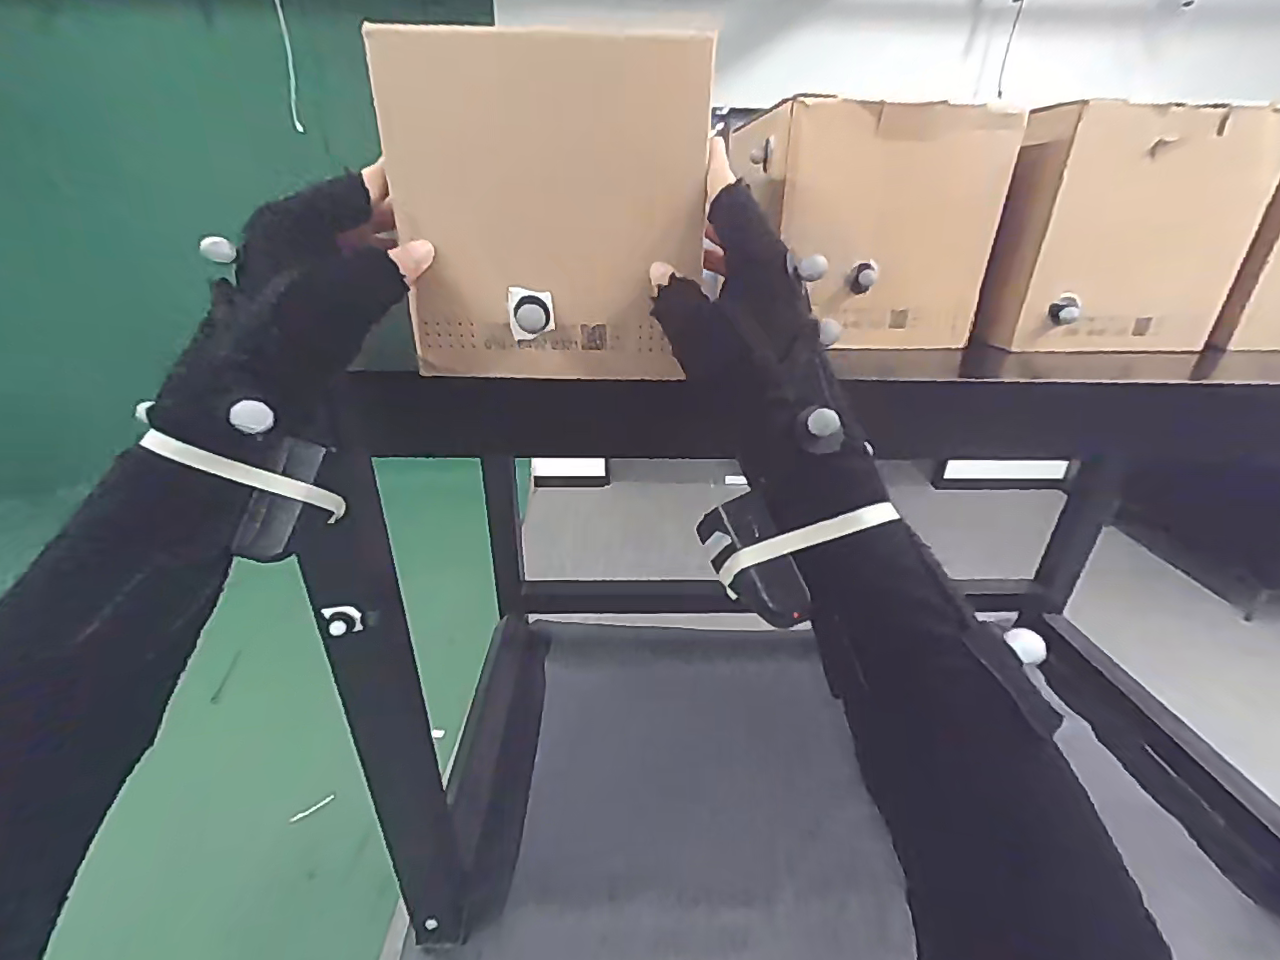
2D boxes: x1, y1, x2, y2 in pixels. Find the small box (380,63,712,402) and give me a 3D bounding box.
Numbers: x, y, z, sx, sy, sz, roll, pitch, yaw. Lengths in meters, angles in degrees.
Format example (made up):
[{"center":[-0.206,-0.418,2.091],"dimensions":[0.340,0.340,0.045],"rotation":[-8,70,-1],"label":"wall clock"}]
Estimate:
[{"center":[-0.048,-0.159,0.370],"dimensions":[0.168,0.176,0.179],"rotation":[-1,26,-1],"label":"small box"}]
